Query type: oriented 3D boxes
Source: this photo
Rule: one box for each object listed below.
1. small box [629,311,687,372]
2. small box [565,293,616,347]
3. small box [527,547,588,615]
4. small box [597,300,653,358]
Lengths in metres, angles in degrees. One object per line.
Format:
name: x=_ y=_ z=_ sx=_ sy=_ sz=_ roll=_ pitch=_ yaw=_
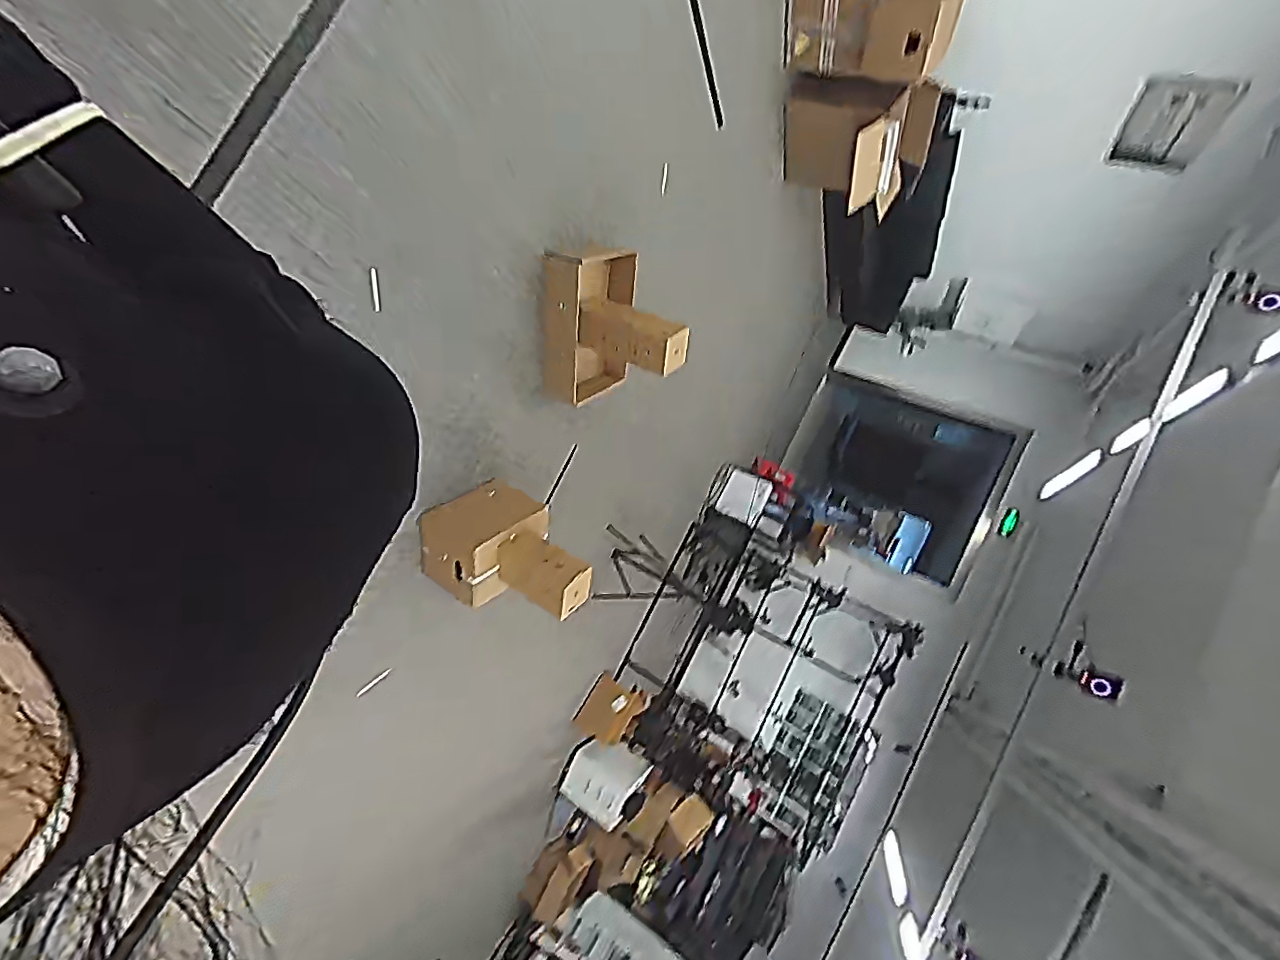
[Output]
small box: x=0.069 y=-0.570 z=2.213 sx=0.179 sy=0.176 sz=0.168 roll=-42 pitch=149 yaw=-41
small box: x=-0.203 y=-0.698 z=2.342 sx=0.179 sy=0.176 sz=0.168 roll=-38 pitch=145 yaw=-45
small box: x=-0.319 y=0.380 z=2.085 sx=0.168 sy=0.176 sz=0.179 roll=-34 pitch=141 yaw=-48
small box: x=-0.067 y=-0.640 z=2.276 sx=0.179 sy=0.176 sz=0.168 roll=-43 pitch=150 yaw=-42
